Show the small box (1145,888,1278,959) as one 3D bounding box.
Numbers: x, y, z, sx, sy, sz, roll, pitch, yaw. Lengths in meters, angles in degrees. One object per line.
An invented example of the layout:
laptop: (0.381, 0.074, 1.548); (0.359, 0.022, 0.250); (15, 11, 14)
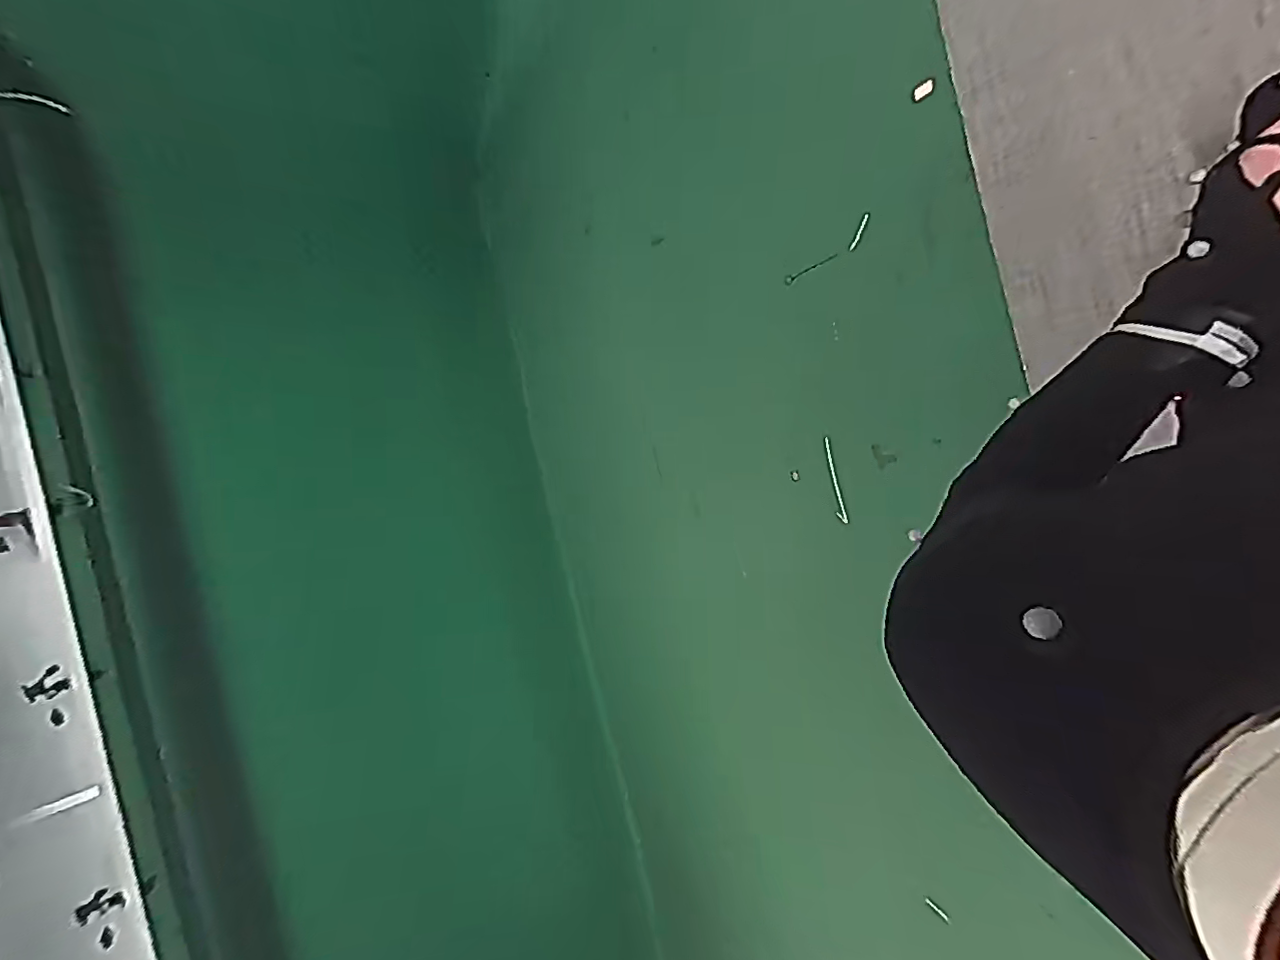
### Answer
small box: (1.195, 1.012, 1.120); (0.168, 0.176, 0.179); (-14, 89, 54)
